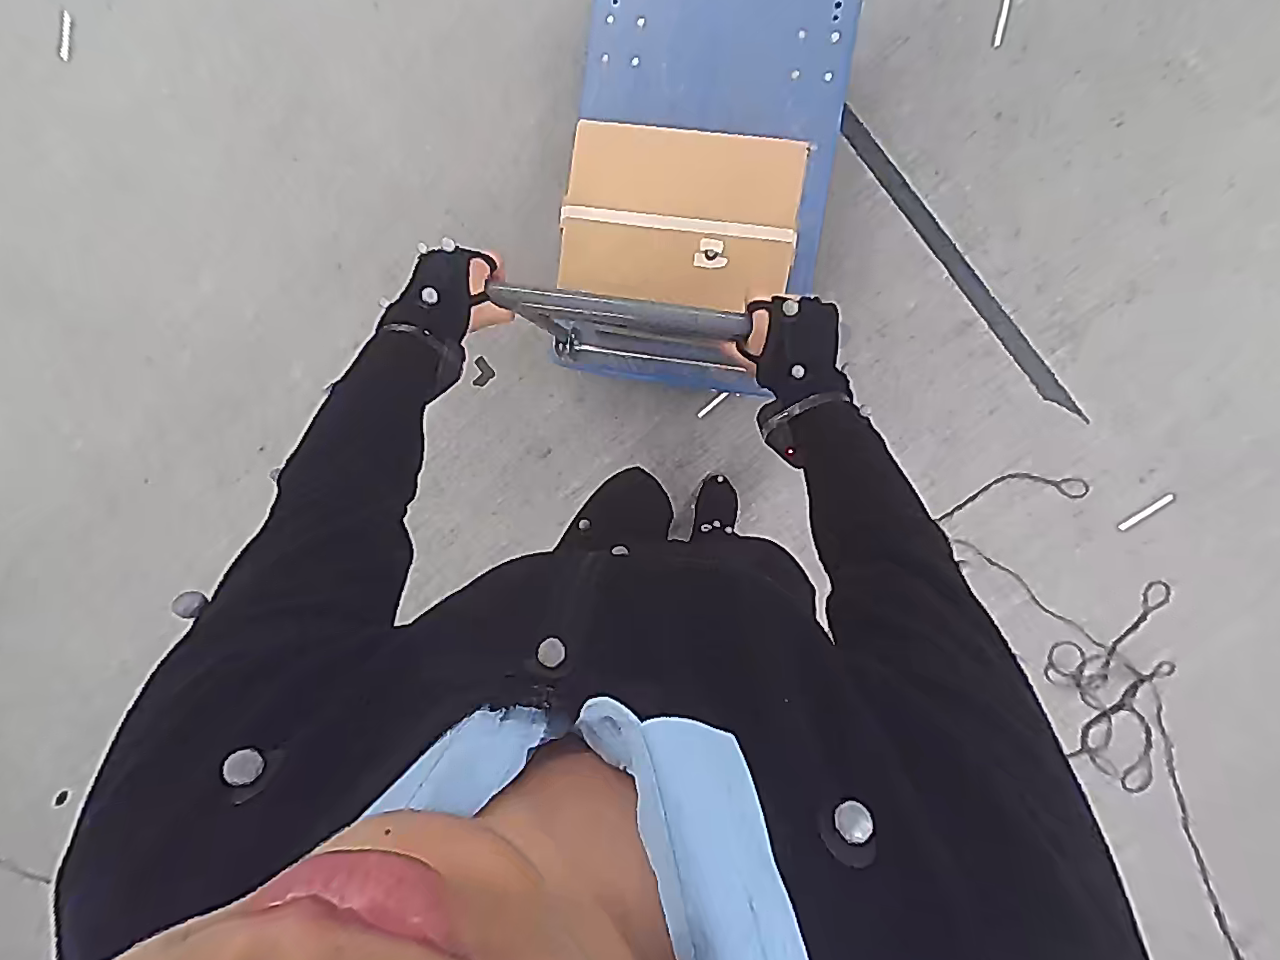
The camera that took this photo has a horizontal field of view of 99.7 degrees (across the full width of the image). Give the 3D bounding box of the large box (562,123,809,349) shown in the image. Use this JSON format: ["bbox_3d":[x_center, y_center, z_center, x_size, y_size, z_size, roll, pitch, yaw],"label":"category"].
[{"bbox_3d":[0.084,-0.463,1.094,0.408,0.320,0.320,9,97,5],"label":"large box"}]
